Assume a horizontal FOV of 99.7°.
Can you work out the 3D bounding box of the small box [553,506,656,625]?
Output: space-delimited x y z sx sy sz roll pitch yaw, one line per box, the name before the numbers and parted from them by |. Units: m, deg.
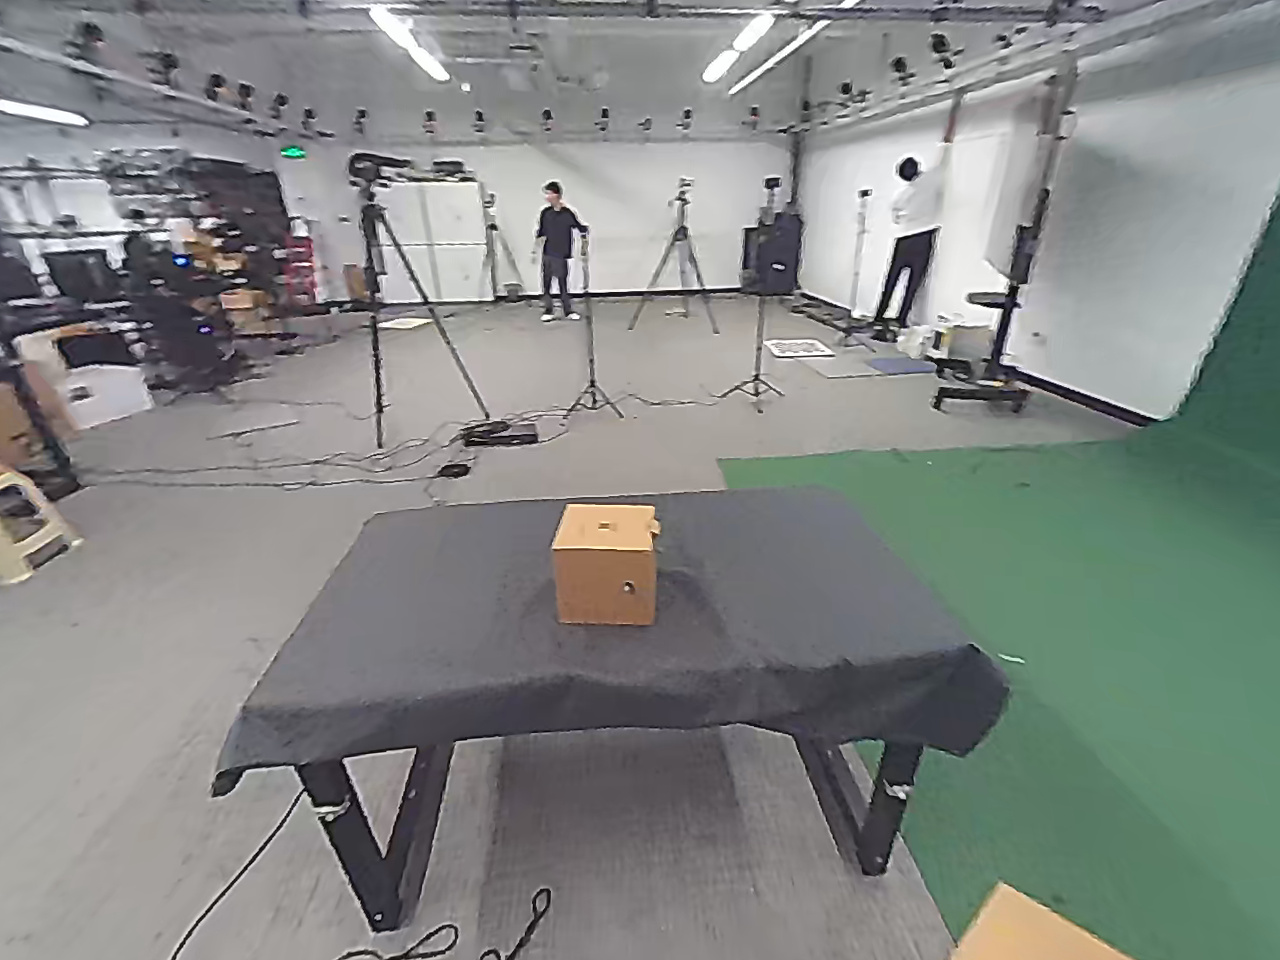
small box | -0.058 0.163 1.035 0.179 0.176 0.168 -1 25 3
